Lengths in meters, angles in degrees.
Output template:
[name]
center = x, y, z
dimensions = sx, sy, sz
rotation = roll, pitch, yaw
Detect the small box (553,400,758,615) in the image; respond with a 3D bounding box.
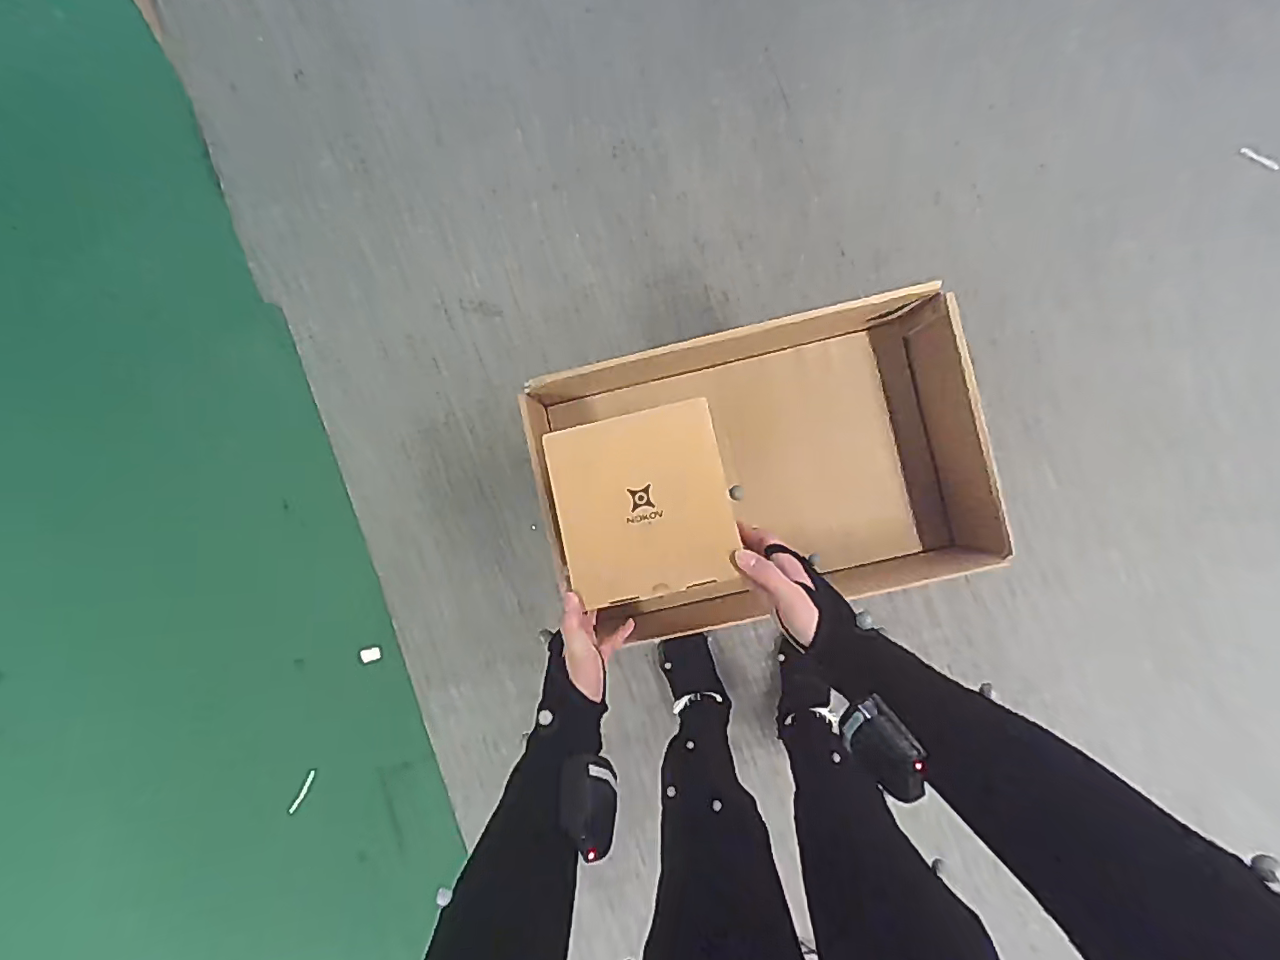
[small box]
center = 0.017, 0.031, 0.581
dimensions = 0.168, 0.176, 0.179
rotation = -13, 86, 4
